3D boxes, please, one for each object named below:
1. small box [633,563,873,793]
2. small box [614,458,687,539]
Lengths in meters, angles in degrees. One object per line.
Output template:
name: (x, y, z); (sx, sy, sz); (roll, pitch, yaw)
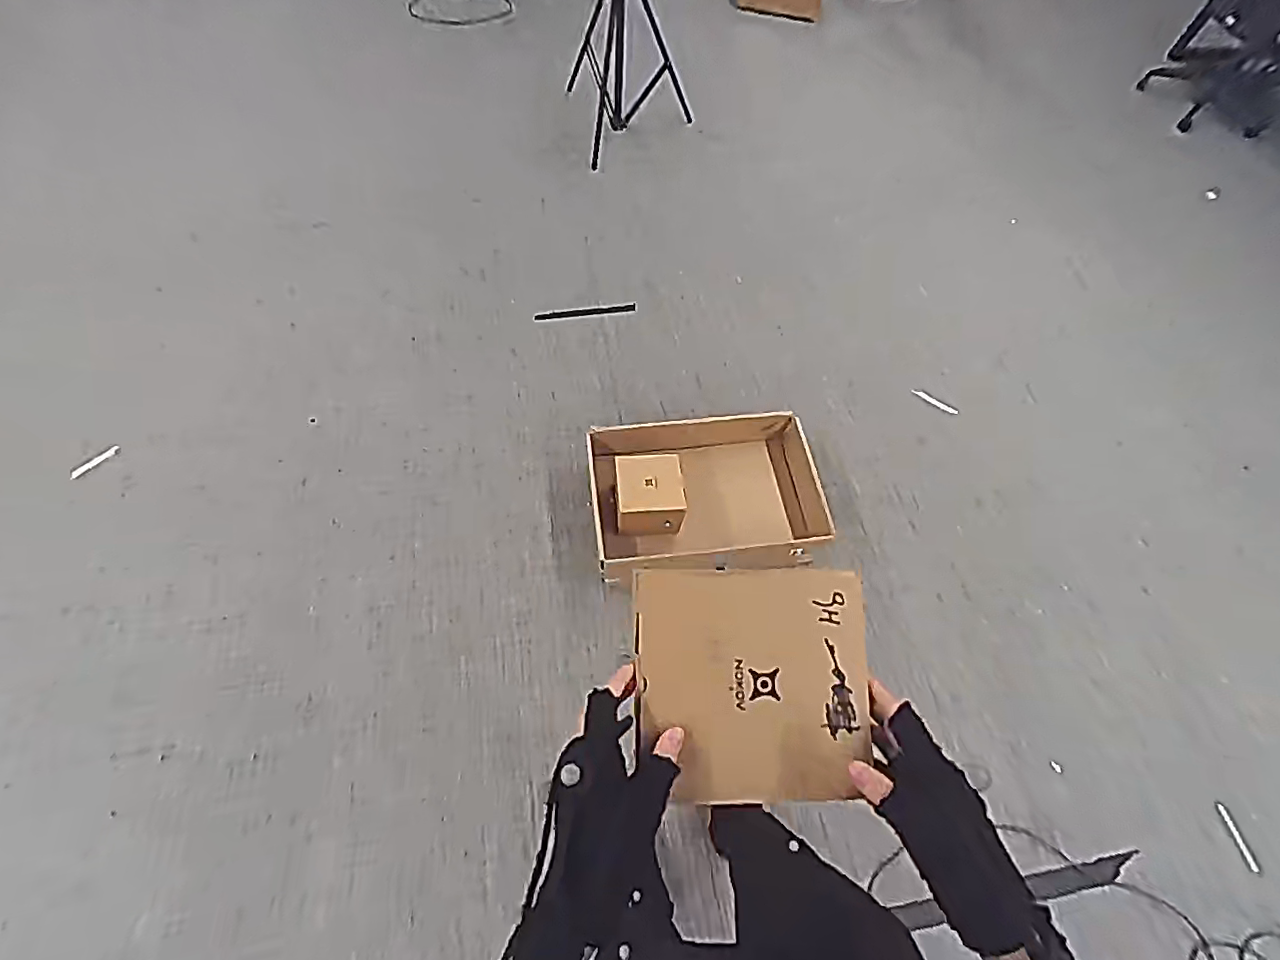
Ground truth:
small box: (0.083, 0.162, 0.485); (0.179, 0.176, 0.168); (0, 79, -1)
small box: (0.023, 0.053, 1.479); (0.179, 0.176, 0.168); (-3, 62, -6)
